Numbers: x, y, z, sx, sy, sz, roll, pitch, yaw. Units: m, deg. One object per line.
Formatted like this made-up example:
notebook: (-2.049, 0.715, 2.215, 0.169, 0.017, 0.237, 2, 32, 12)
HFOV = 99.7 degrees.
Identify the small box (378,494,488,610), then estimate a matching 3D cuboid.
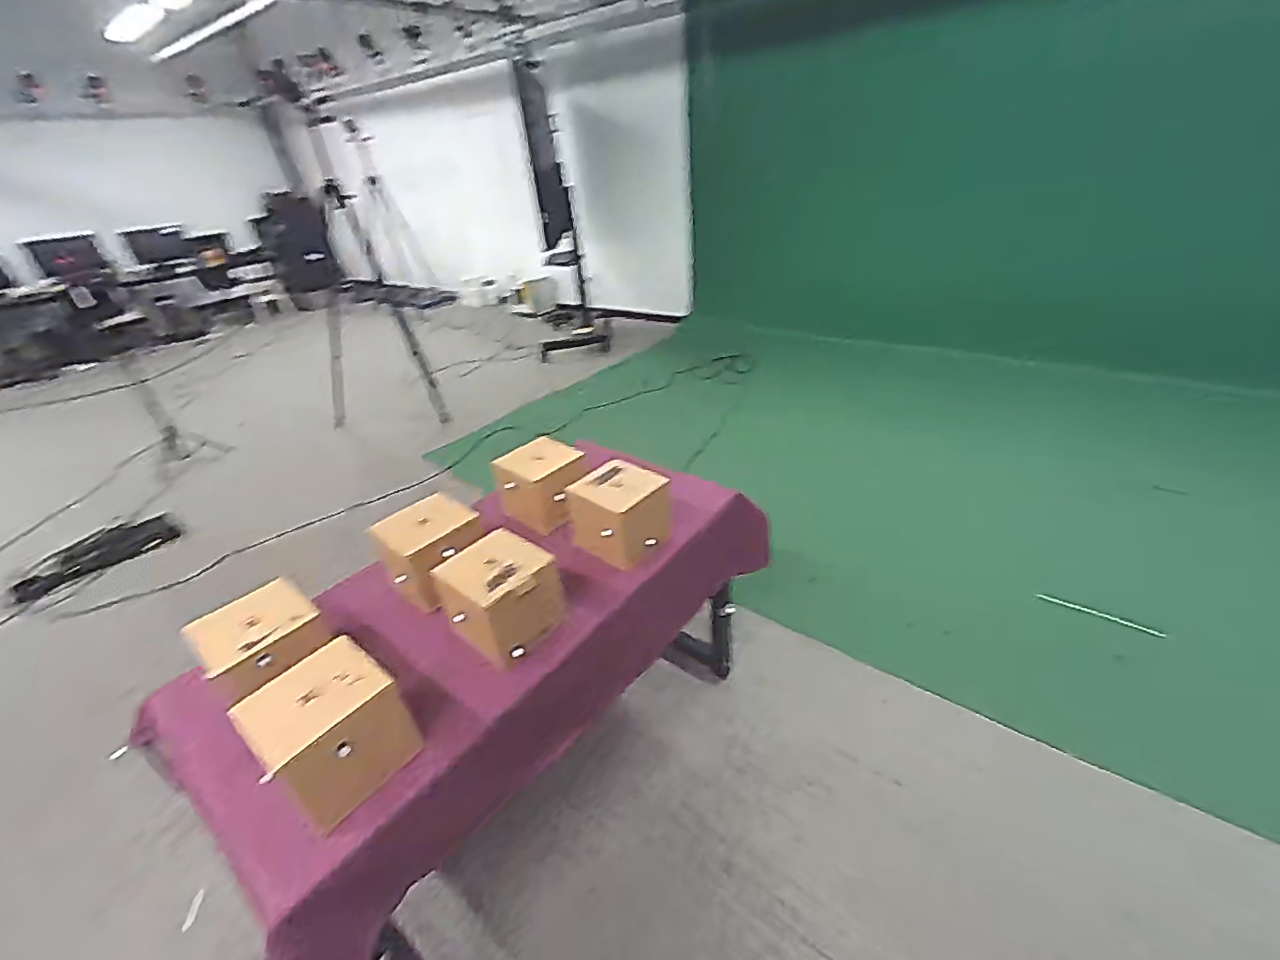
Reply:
small box: (-0.451, 0.163, 1.226, 0.168, 0.176, 0.179, 22, 41, 37)

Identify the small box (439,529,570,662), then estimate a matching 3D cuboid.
small box: (-0.262, 0.231, 1.077, 0.179, 0.176, 0.168, 19, 40, 37)

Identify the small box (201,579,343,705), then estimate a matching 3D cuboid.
small box: (-0.664, 0.322, 1.005, 0.179, 0.176, 0.168, 20, 40, 36)

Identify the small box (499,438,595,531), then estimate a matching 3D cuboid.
small box: (-0.239, 0.014, 1.427, 0.179, 0.176, 0.168, 21, 41, 38)

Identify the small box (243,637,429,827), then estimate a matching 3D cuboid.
small box: (-0.468, 0.393, 0.851, 0.168, 0.176, 0.179, 19, 39, 35)
